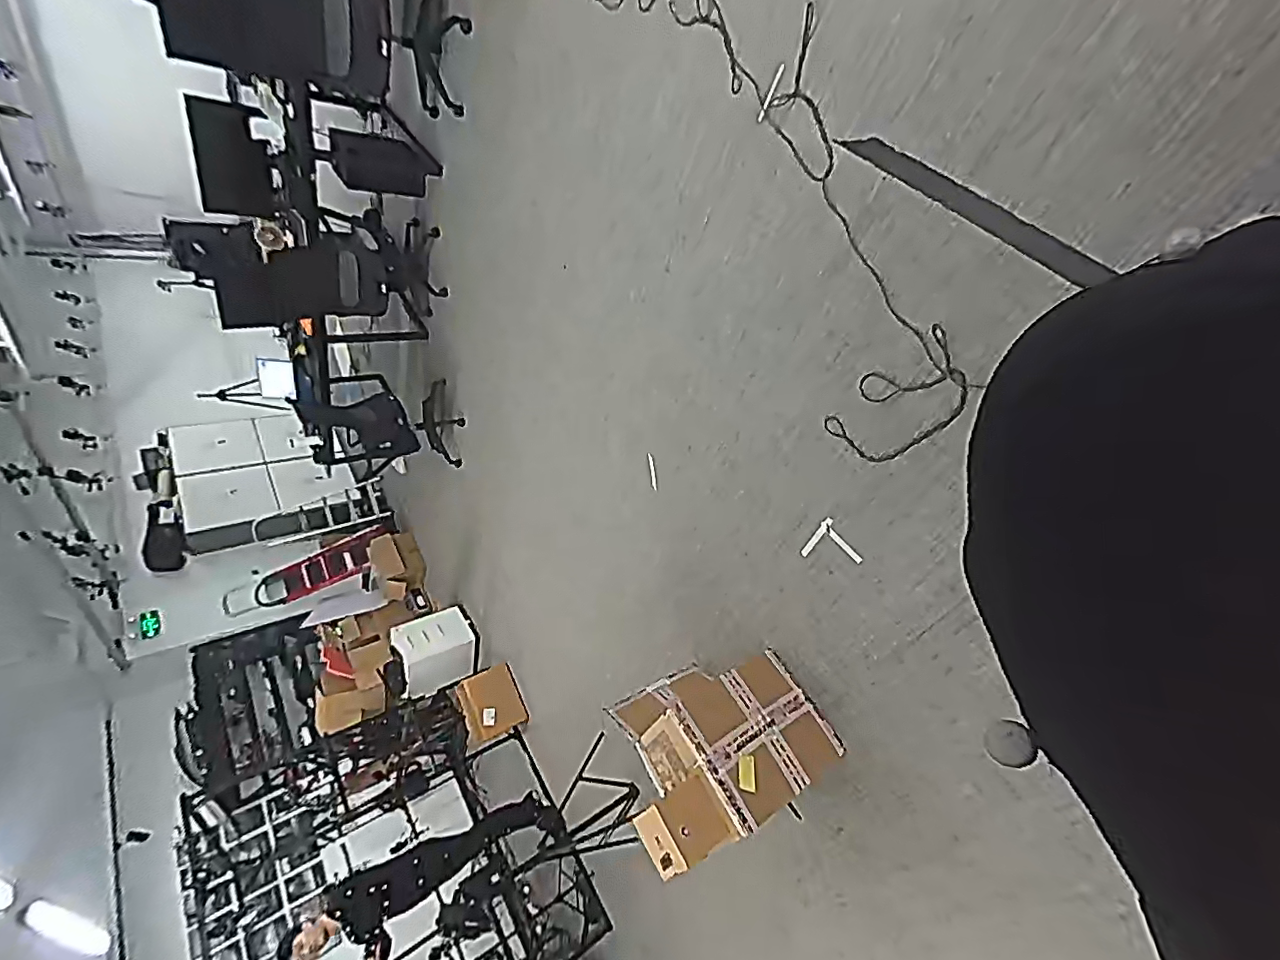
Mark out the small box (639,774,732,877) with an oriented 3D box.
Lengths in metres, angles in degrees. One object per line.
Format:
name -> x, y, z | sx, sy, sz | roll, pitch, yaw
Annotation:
small box -> 0.133, 0.991, 1.557 | 0.179, 0.176, 0.168 | 55, 136, 27
